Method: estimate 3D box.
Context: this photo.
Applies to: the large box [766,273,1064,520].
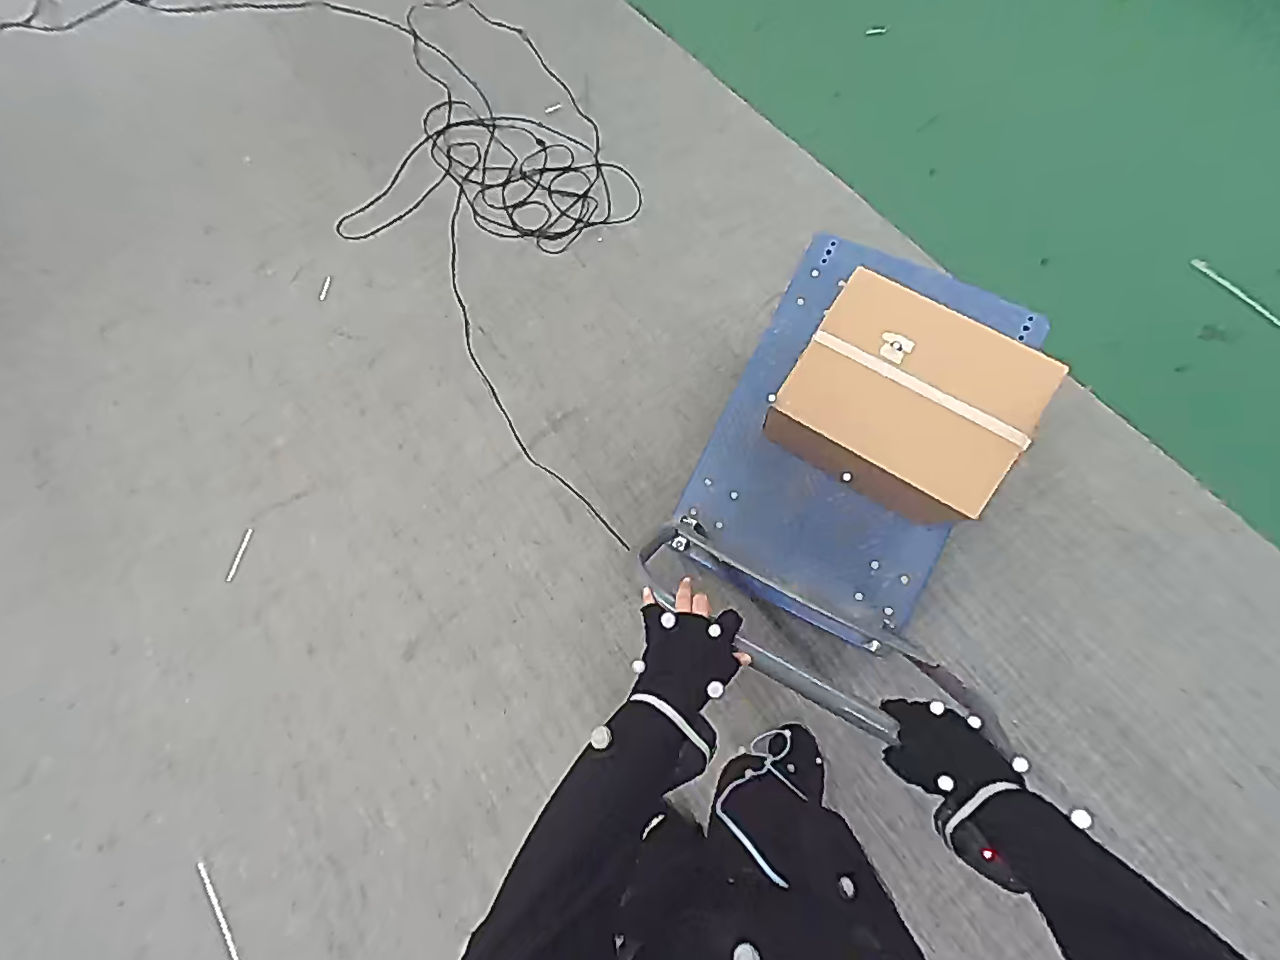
[{"bbox_3d":[0.515,-0.146,1.115,0.408,0.320,0.320,33,90,12],"label":"large box"}]
